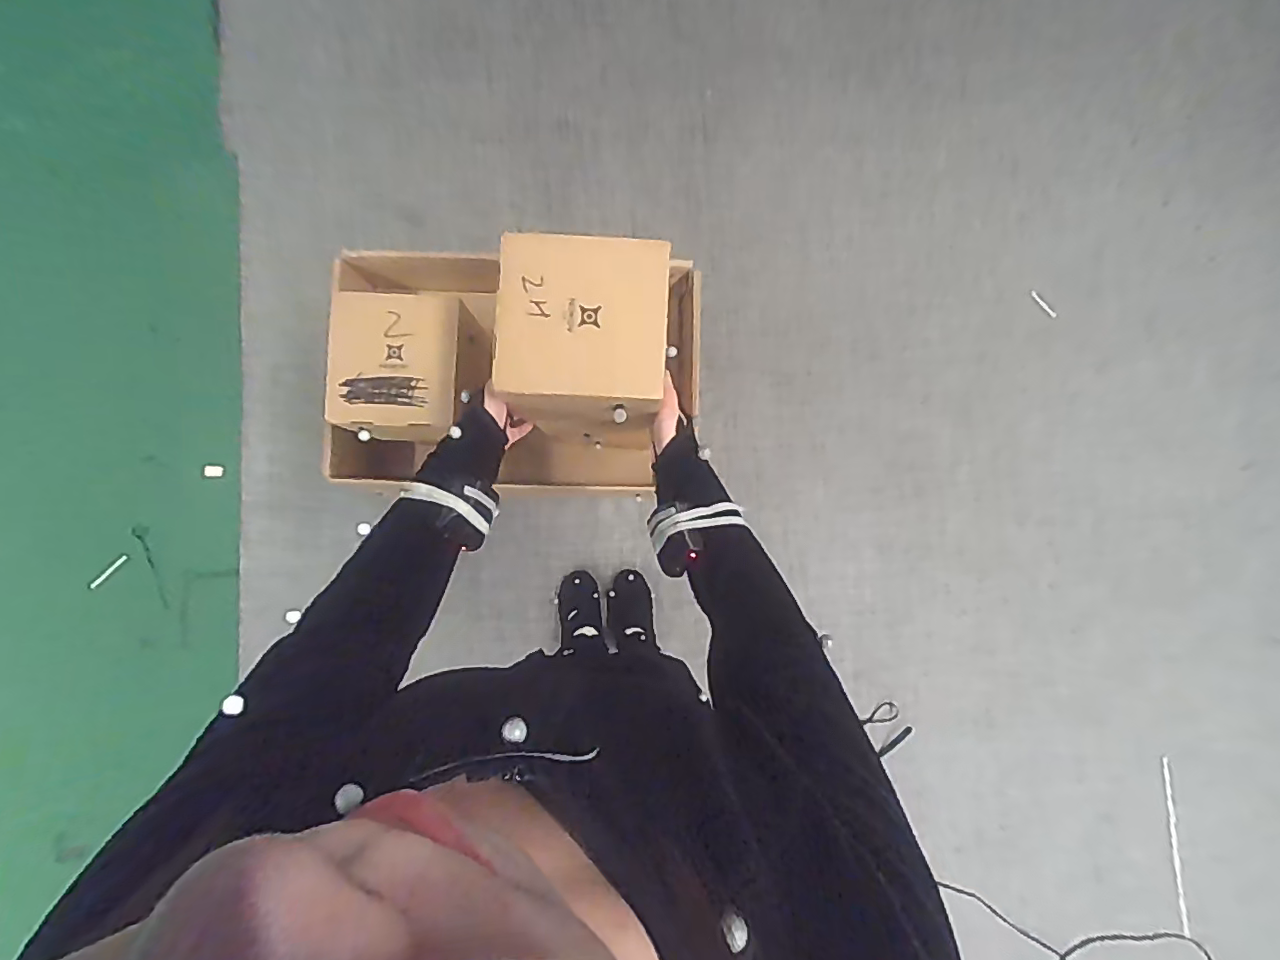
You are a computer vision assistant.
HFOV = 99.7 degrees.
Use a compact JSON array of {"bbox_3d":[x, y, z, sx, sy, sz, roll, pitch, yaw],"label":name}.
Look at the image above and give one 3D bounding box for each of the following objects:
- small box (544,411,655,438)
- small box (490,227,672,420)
[{"bbox_3d":[-0.058,-0.164,0.794,0.168,0.176,0.179,4,88,0],"label":"small box"},{"bbox_3d":[-0.058,-0.166,0.623,0.179,0.176,0.168,3,86,1],"label":"small box"}]
